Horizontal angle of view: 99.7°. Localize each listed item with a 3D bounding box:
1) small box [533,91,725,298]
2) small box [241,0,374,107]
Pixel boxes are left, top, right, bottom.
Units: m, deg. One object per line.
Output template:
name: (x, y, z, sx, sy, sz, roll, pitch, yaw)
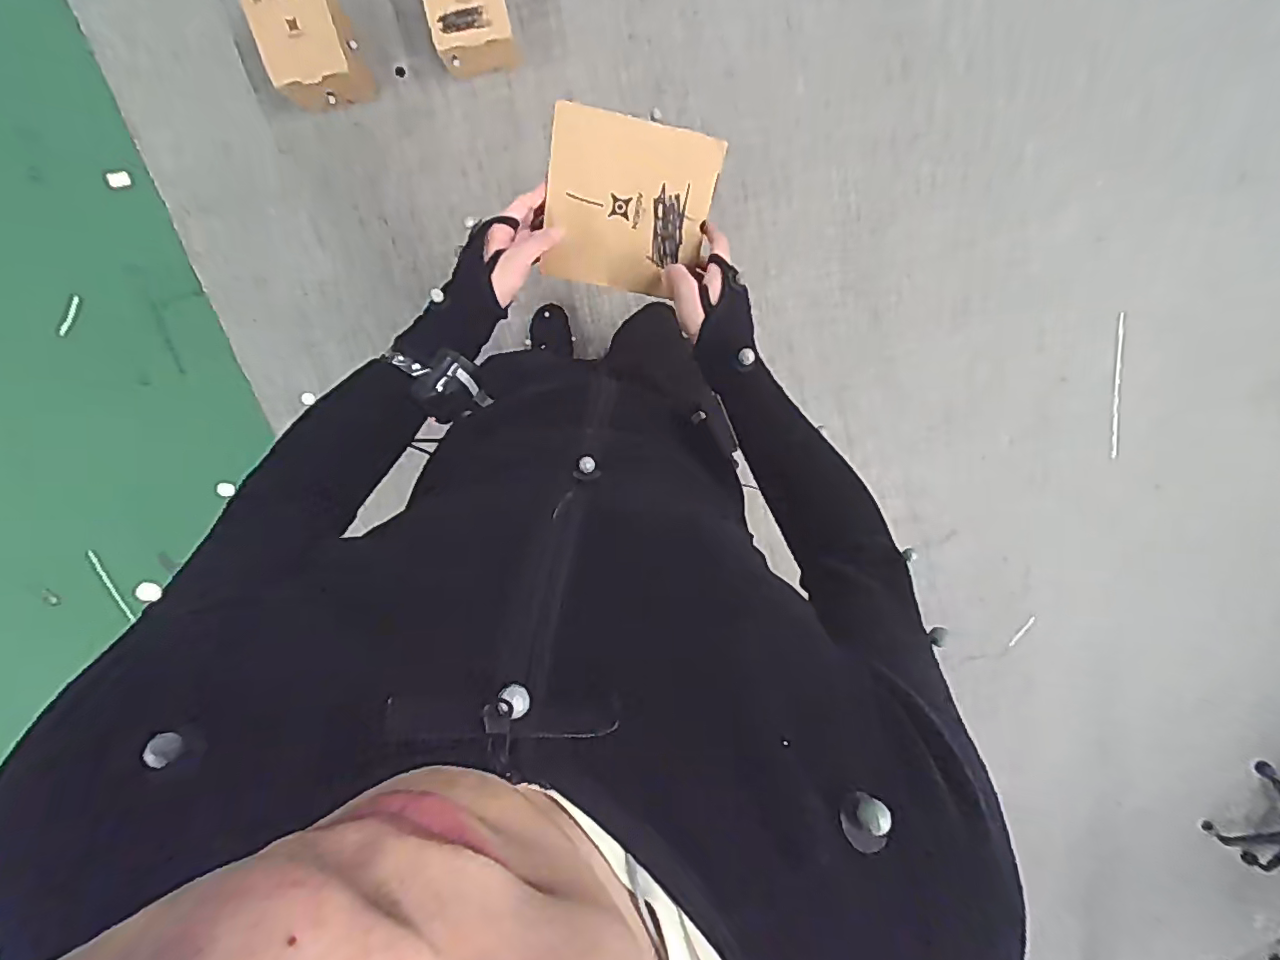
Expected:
small box: (-0.017, -0.330, 0.629, 0.179, 0.176, 0.168, 10, 121, -6)
small box: (-0.711, -0.939, 1.176, 0.168, 0.176, 0.179, -13, 110, -1)
